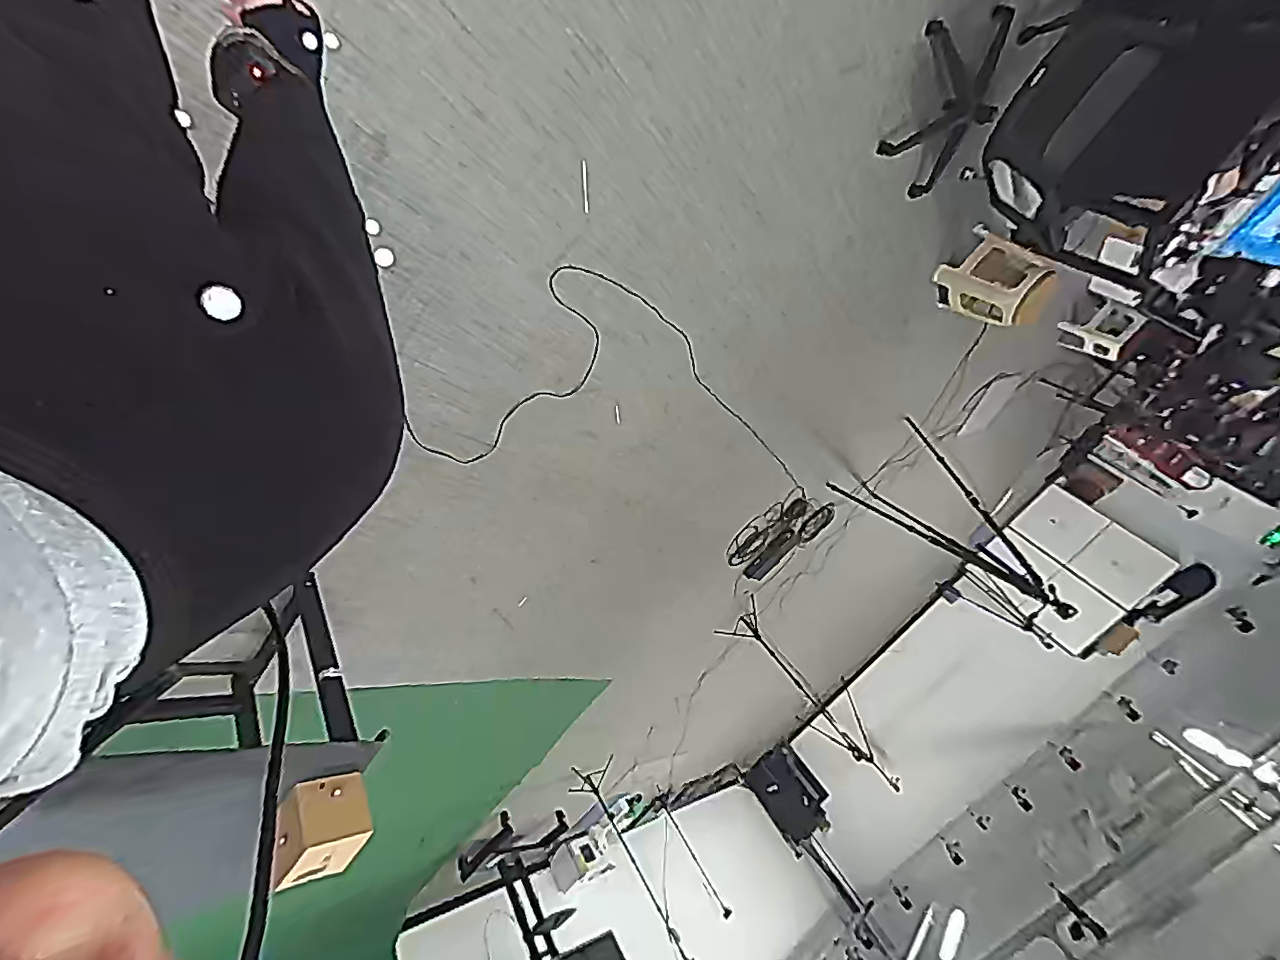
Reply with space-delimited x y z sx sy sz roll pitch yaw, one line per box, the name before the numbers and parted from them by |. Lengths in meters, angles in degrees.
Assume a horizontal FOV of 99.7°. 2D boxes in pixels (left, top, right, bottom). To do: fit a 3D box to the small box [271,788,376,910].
small box | -0.803 0.918 1.361 0.179 0.176 0.168 -53 142 12
